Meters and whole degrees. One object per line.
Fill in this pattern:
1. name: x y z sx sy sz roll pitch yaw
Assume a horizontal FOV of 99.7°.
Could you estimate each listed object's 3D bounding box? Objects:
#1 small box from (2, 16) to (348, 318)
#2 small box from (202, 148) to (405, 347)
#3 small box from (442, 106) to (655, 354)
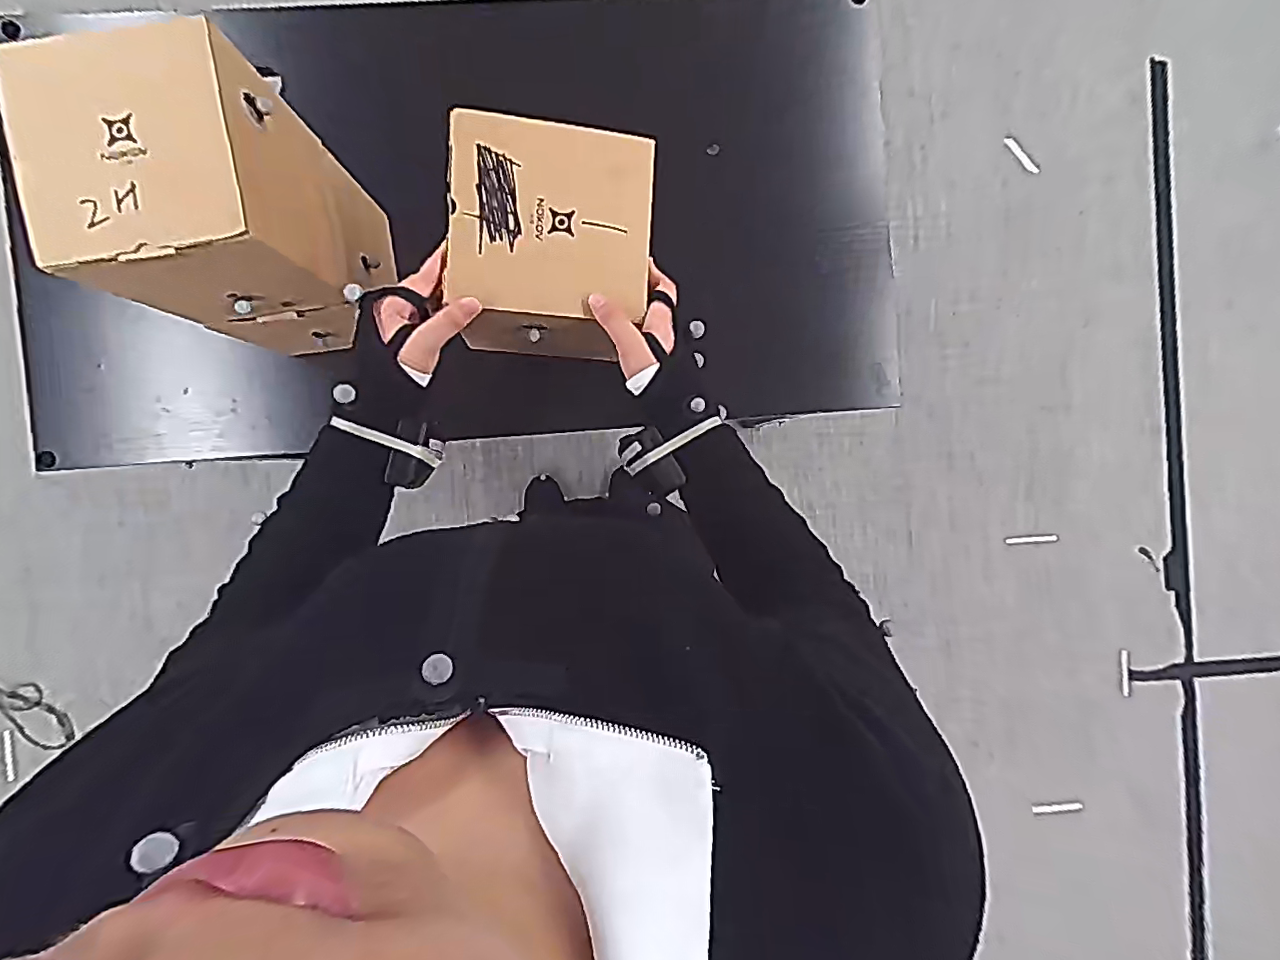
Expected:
1. small box: -0.406 -0.270 0.506 0.168 0.176 0.179 -10 92 -2
2. small box: -0.413 -0.270 0.672 0.168 0.176 0.179 -9 92 -2
3. small box: -0.090 -0.231 0.547 0.179 0.176 0.168 3 91 -10
